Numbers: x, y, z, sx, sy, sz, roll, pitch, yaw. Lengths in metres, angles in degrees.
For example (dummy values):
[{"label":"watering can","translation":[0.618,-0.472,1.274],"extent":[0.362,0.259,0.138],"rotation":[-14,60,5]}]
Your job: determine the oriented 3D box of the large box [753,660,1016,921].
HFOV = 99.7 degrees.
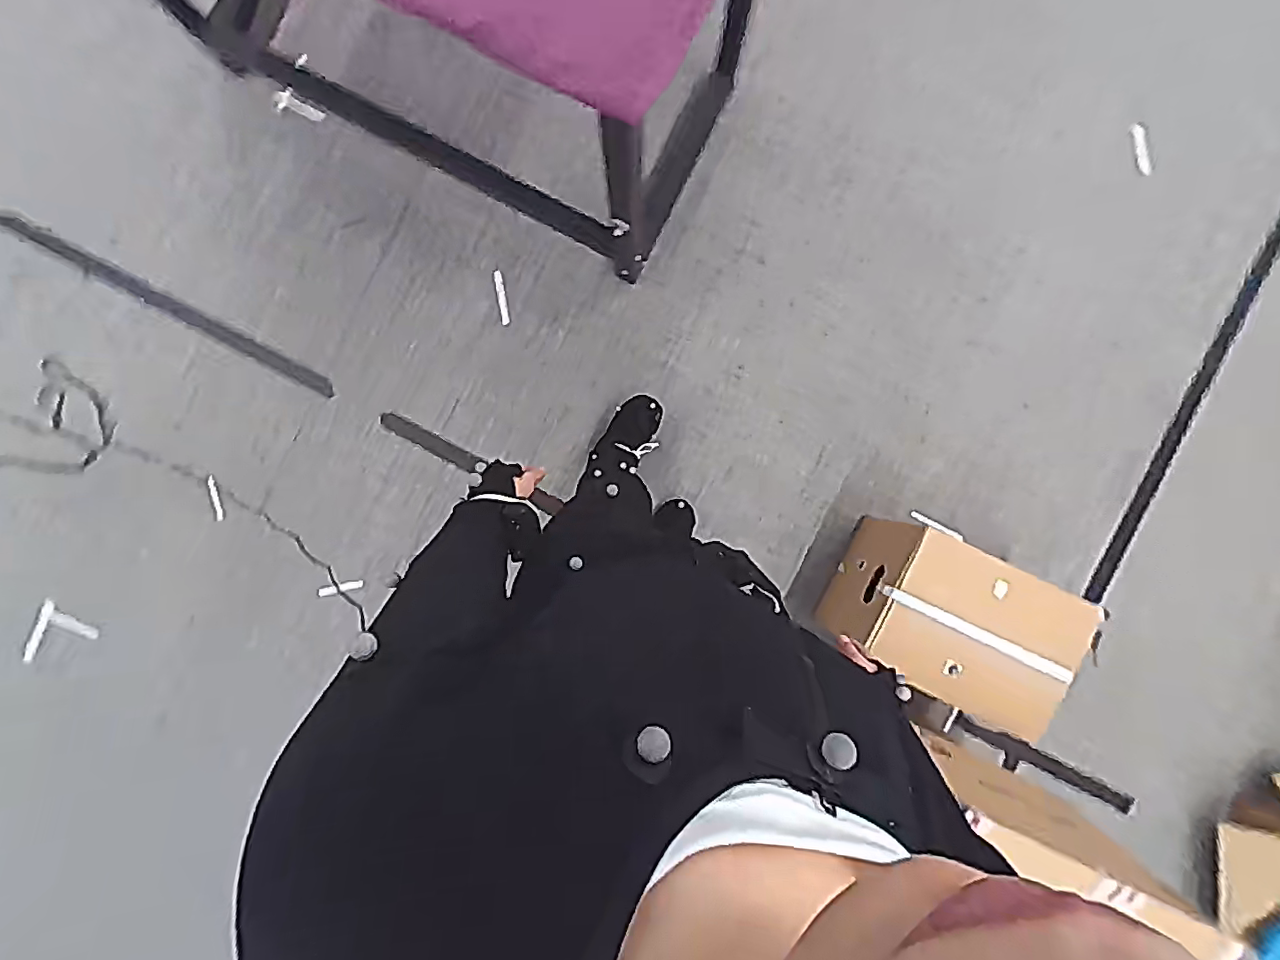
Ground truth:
[{"label":"large box","translation":[0.532,0.688,1.257],"extent":[0.408,0.320,0.320],"rotation":[26,91,0]}]
